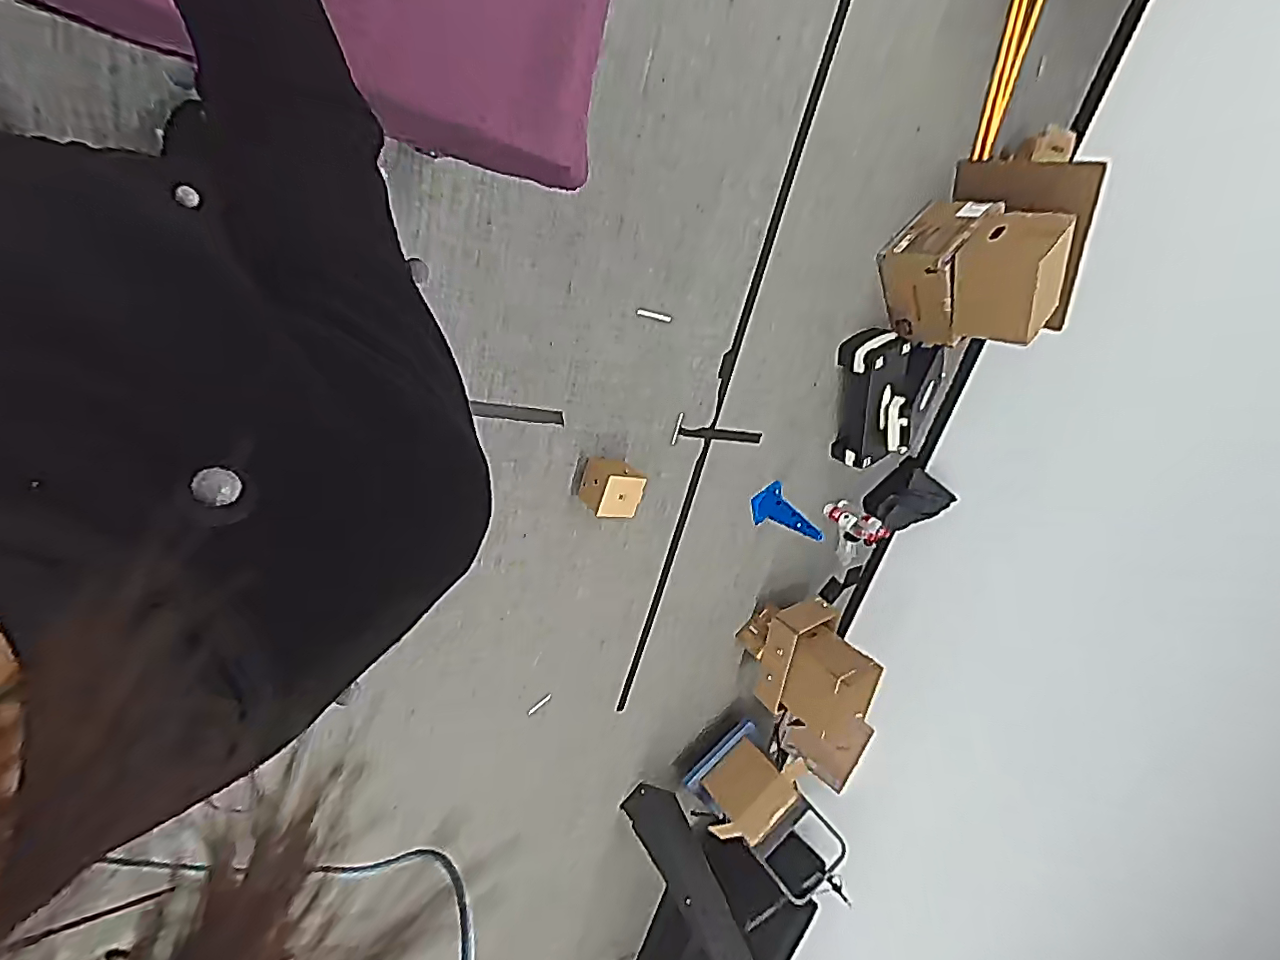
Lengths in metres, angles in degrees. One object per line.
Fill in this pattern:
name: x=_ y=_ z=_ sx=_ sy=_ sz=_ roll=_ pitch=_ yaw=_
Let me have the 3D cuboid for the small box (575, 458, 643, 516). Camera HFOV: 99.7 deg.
small box: x=-0.123 y=0.024 z=2.060 sx=0.179 sy=0.176 sz=0.168 roll=4 pitch=113 yaw=-39
